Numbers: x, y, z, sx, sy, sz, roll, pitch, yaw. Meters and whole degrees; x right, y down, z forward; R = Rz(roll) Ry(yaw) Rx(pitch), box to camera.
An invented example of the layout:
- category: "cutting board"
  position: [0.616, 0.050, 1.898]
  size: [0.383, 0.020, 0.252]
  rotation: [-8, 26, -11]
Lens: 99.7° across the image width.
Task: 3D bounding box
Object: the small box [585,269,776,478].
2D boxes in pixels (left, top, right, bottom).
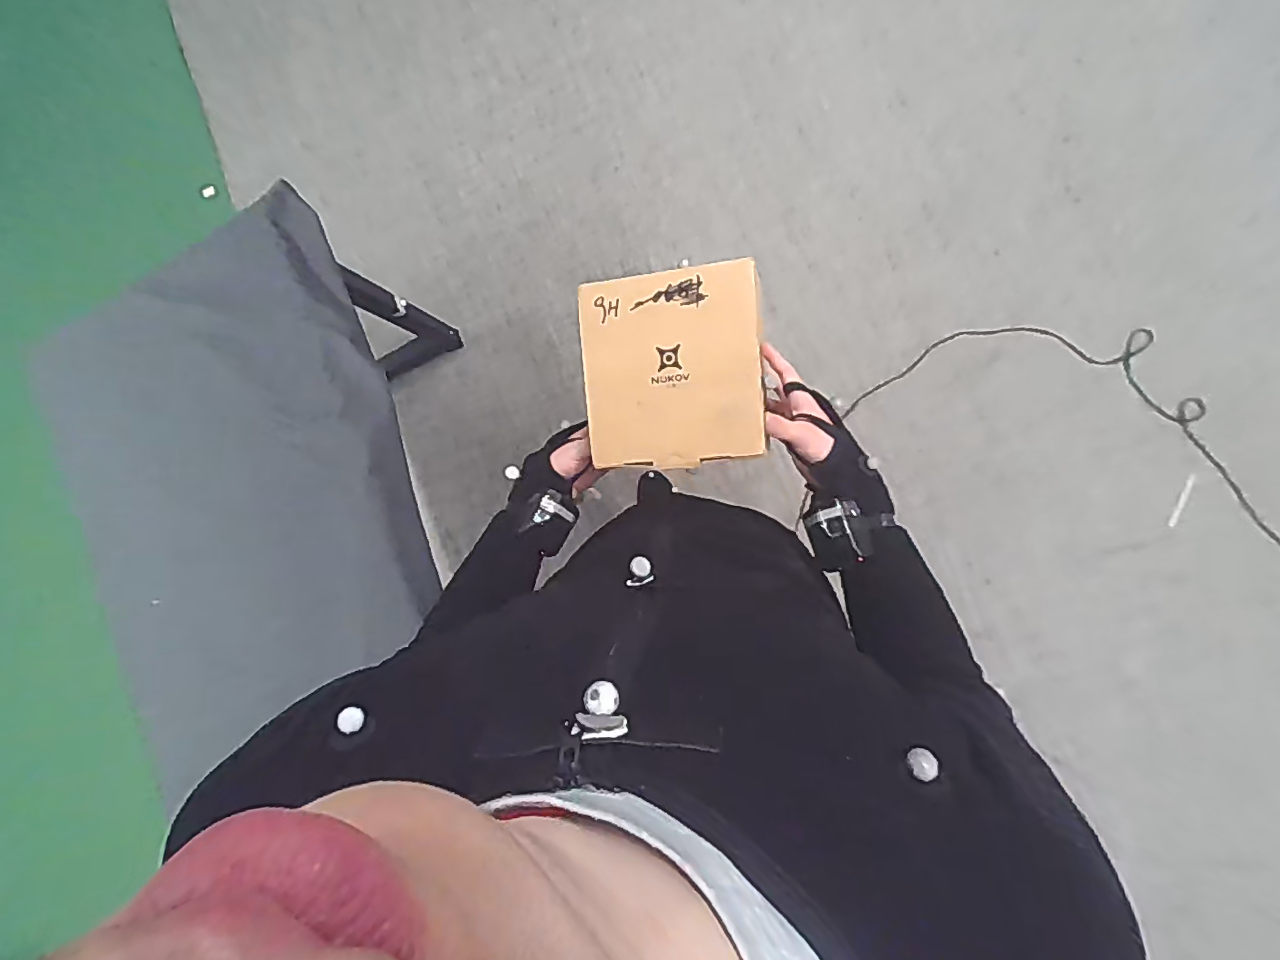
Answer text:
- category: "small box"
  position: [0.054, -0.100, 0.569]
  size: [0.168, 0.176, 0.179]
  rotation: [-4, 94, 14]
